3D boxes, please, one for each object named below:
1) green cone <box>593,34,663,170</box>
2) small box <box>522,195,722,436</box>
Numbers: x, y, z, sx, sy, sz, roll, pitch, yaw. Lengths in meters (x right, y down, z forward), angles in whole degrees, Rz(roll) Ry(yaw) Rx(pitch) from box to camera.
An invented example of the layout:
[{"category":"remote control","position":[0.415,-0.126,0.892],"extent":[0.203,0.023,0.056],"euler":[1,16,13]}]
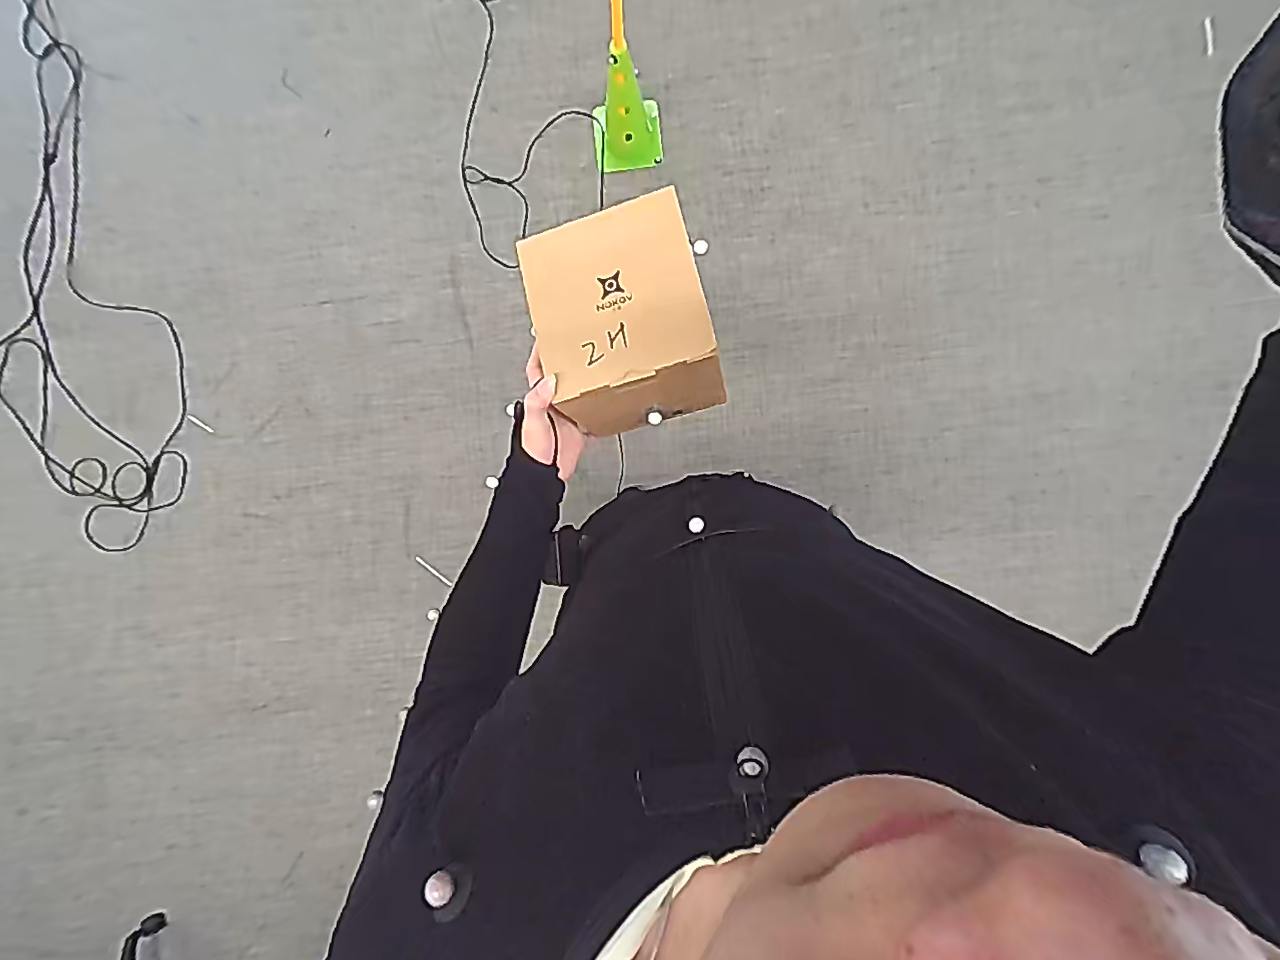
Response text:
[{"category":"green cone","position":[-0.047,-1.051,1.467],"extent":[0.202,0.368,0.200],"euler":[-6,90,4]},{"category":"small box","position":[-0.010,-0.164,0.596],"extent":[0.168,0.176,0.179],"euler":[-14,80,10]}]
